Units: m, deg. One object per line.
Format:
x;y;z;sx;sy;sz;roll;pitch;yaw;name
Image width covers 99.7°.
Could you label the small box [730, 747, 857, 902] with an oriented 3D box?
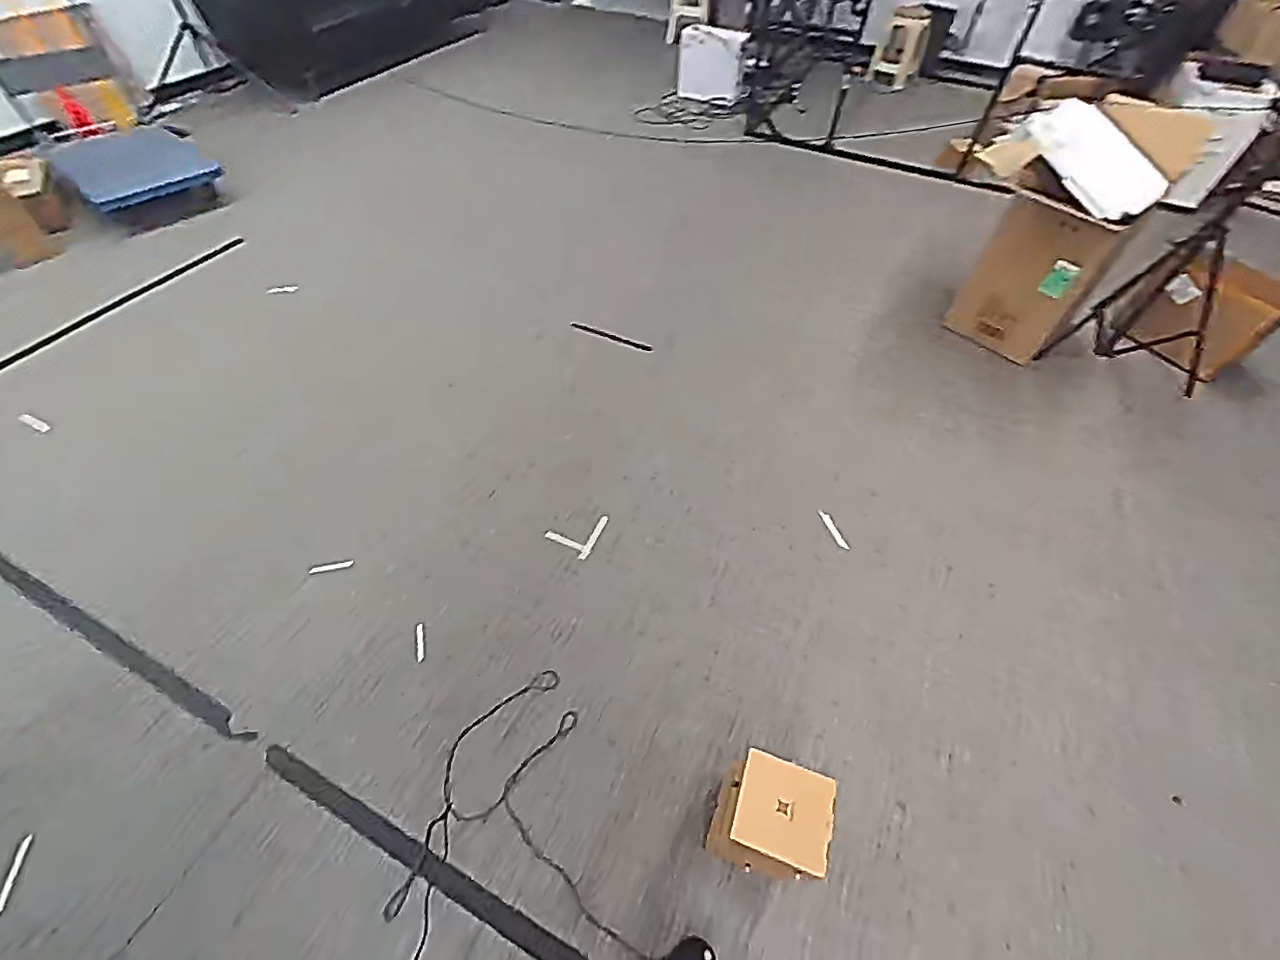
0.289;0.652;1.028;0.168;0.176;0.179;28;36;-4;small box
